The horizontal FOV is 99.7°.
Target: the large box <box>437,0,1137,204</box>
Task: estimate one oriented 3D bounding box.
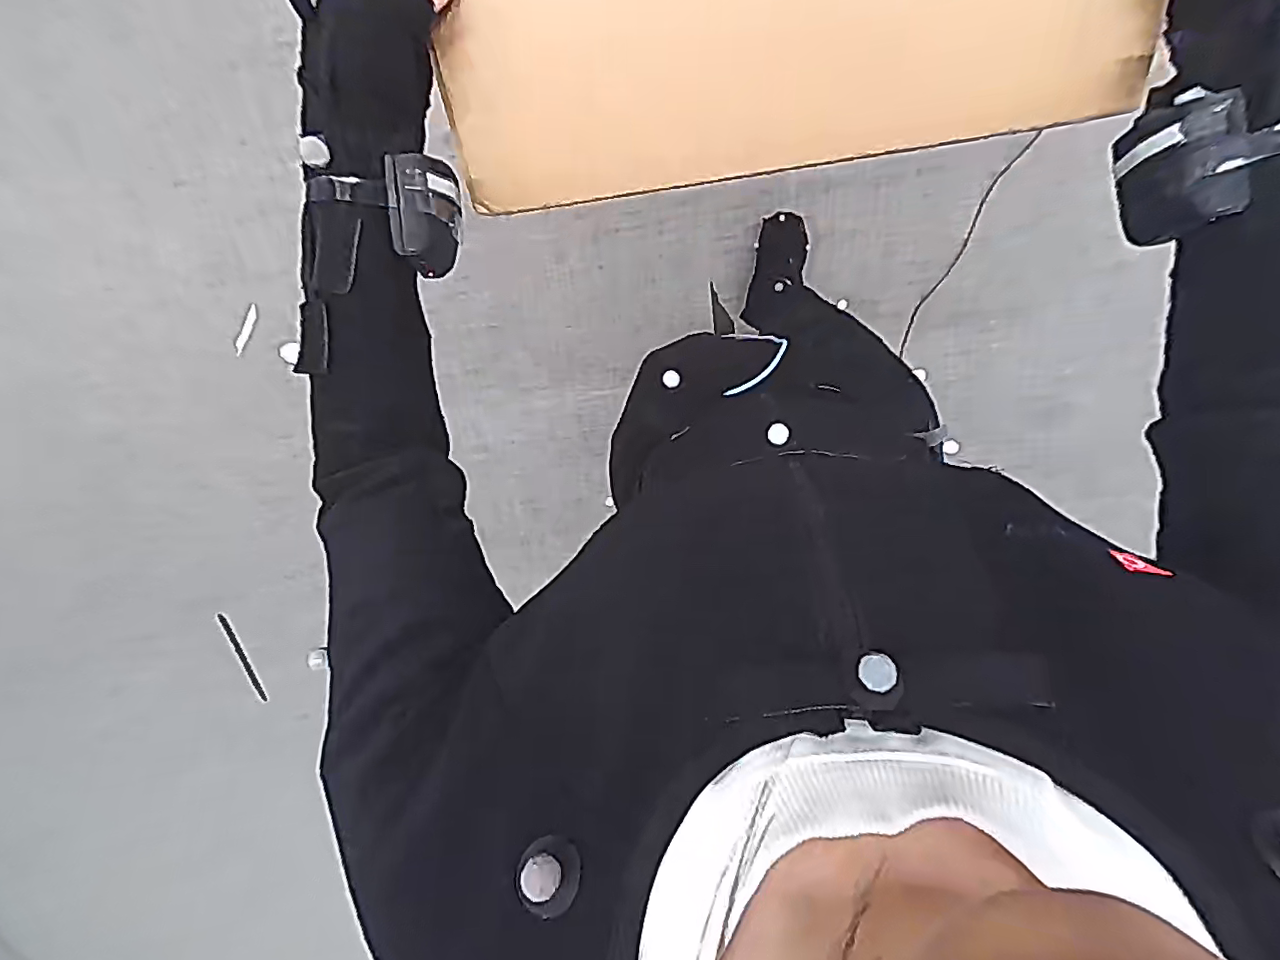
[{"bbox_3d":[0.078,-0.422,0.404,0.408,0.320,0.320,-4,122,10],"label":"large box"}]

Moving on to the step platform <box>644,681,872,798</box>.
[{"bbox_3d":[0.354,0.812,1.691,0.684,0.204,0.286,-5,110,12],"label":"step platform"}]
